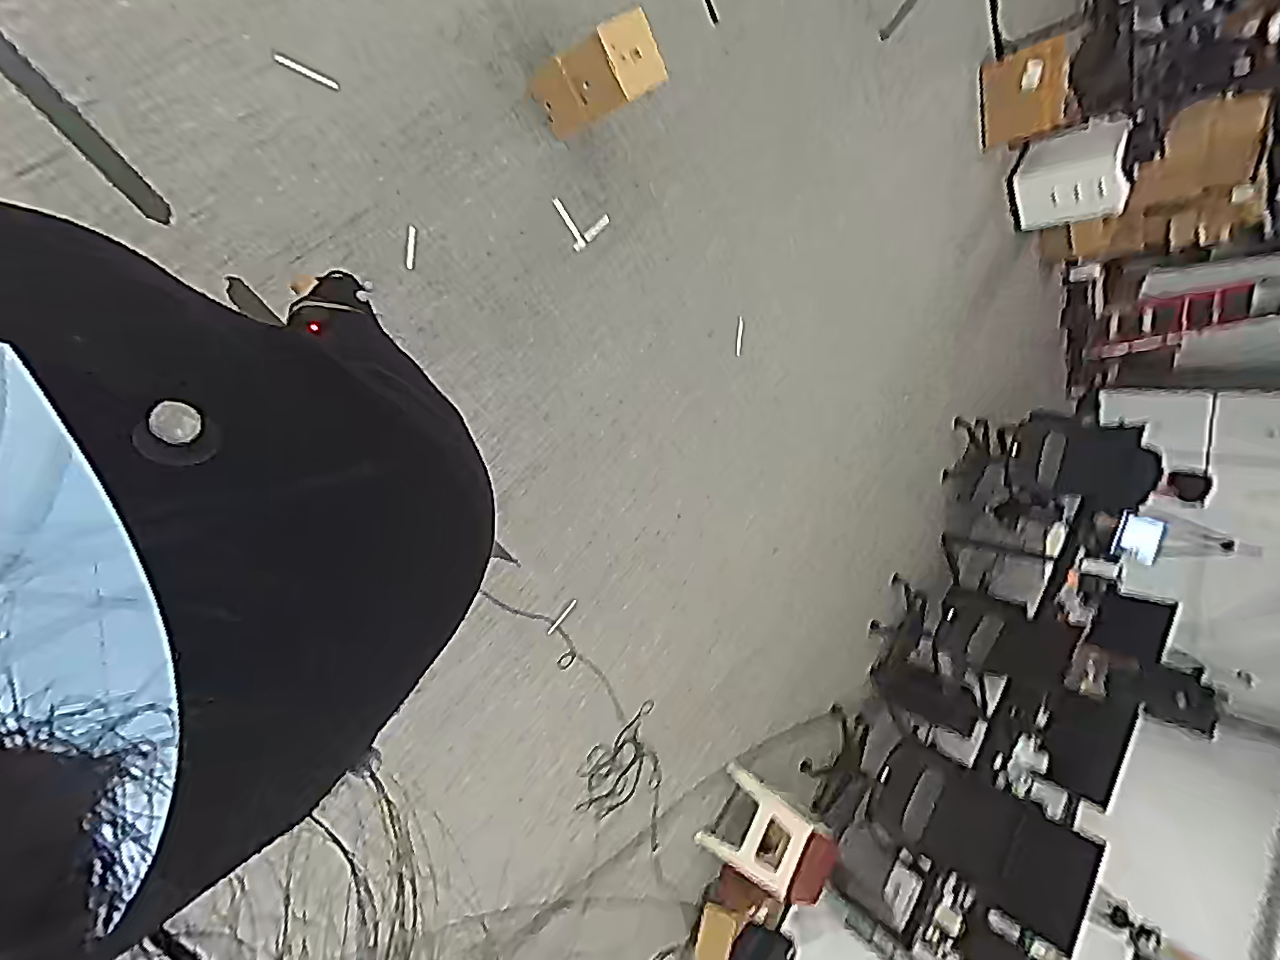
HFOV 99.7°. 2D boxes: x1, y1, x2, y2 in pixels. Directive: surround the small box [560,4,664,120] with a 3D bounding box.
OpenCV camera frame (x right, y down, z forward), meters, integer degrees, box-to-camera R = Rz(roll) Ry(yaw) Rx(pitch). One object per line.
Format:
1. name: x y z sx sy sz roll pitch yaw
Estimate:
1. small box: -0.076 -1.093 1.423 0.179 0.176 0.168 -46 123 -24
